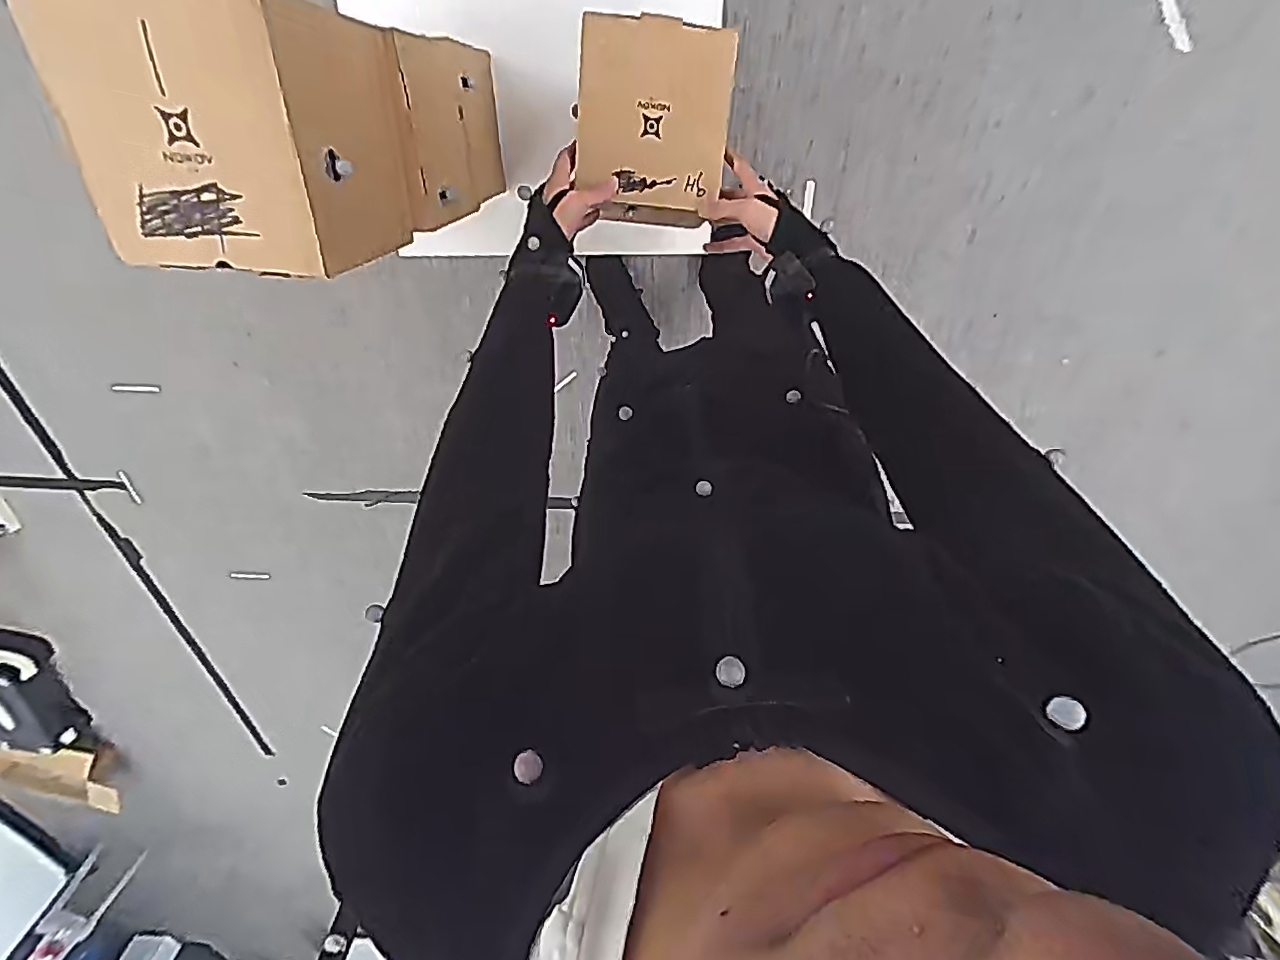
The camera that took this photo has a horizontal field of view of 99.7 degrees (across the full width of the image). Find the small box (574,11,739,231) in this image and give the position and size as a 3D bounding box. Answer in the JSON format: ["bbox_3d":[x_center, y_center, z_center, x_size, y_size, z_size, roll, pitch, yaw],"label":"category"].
[{"bbox_3d":[0.011,-0.416,0.659,0.168,0.176,0.179,4,109,-4],"label":"small box"}]

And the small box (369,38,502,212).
[{"bbox_3d":[-0.289,-0.462,0.712,0.168,0.176,0.179,1,123,2],"label":"small box"}]

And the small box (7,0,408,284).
[{"bbox_3d":[-0.311,-0.275,0.441,0.168,0.176,0.179,4,123,0],"label":"small box"}]
